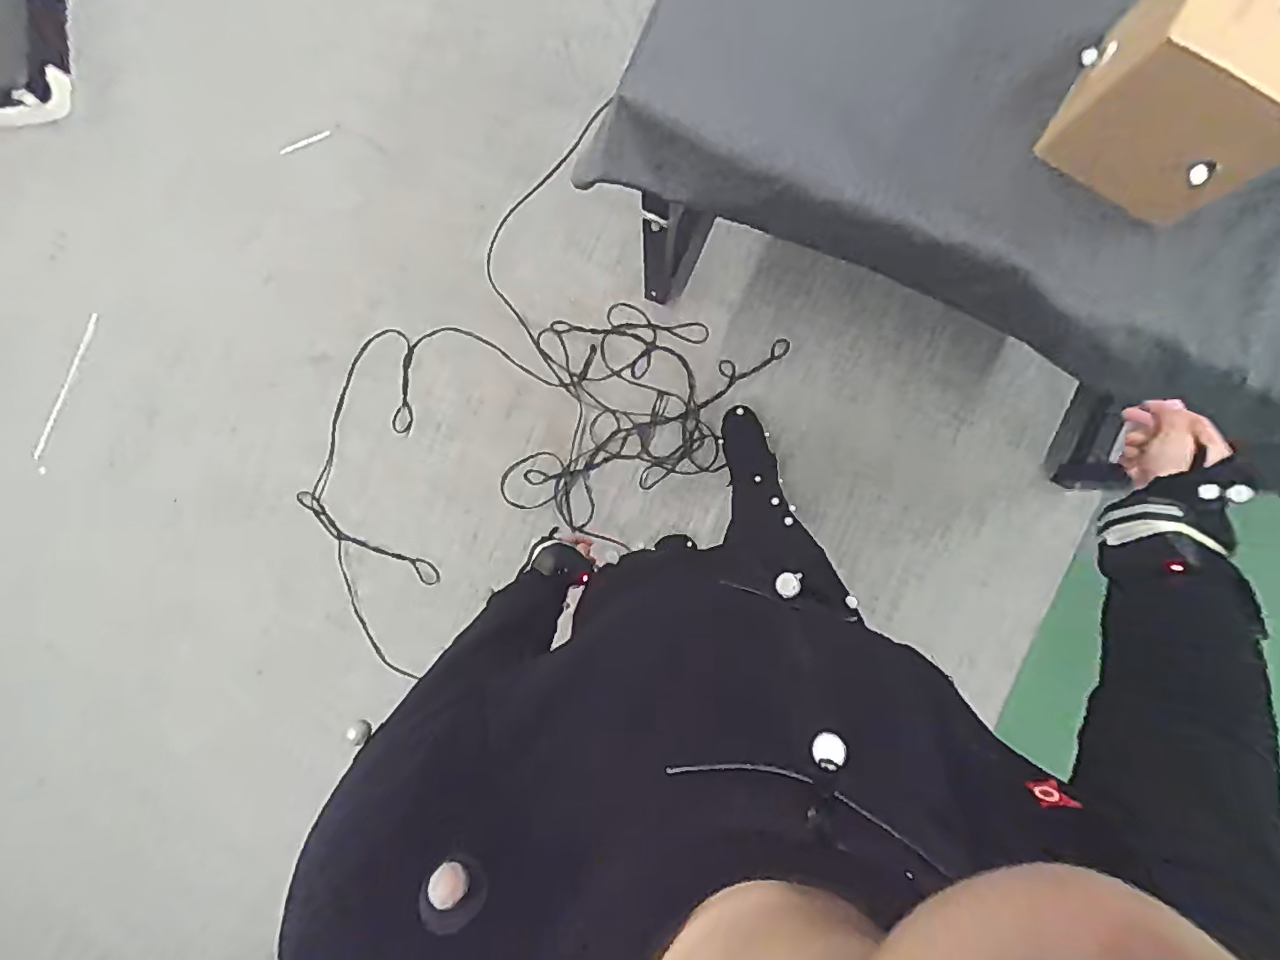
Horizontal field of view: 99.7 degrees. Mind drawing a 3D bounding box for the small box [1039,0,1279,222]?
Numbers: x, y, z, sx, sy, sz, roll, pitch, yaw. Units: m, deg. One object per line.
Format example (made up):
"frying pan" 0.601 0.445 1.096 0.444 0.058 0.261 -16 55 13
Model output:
"small box" 0.573 -0.398 0.550 0.179 0.176 0.168 32 89 2
